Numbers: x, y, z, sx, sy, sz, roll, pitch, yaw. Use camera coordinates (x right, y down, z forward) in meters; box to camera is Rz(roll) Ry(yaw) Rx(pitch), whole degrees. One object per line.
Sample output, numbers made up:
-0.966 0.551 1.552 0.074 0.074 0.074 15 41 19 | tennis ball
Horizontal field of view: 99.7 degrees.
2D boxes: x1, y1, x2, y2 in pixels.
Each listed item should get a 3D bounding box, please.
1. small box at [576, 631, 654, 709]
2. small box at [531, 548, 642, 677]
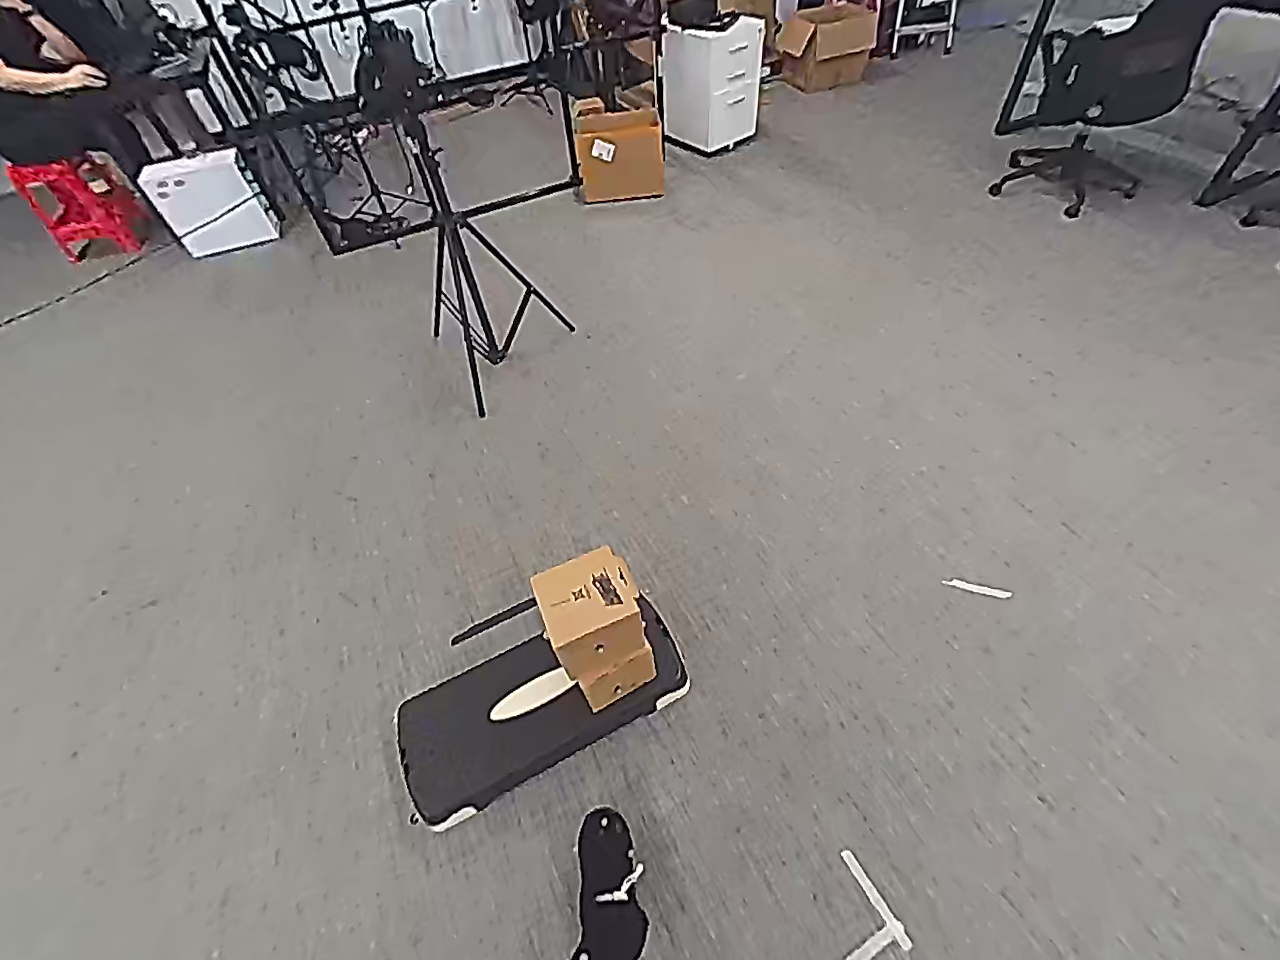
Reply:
-0.081 0.385 1.228 0.168 0.176 0.179 -26 54 -15 | small box
-0.103 0.273 1.109 0.179 0.176 0.168 -22 53 -11 | small box
